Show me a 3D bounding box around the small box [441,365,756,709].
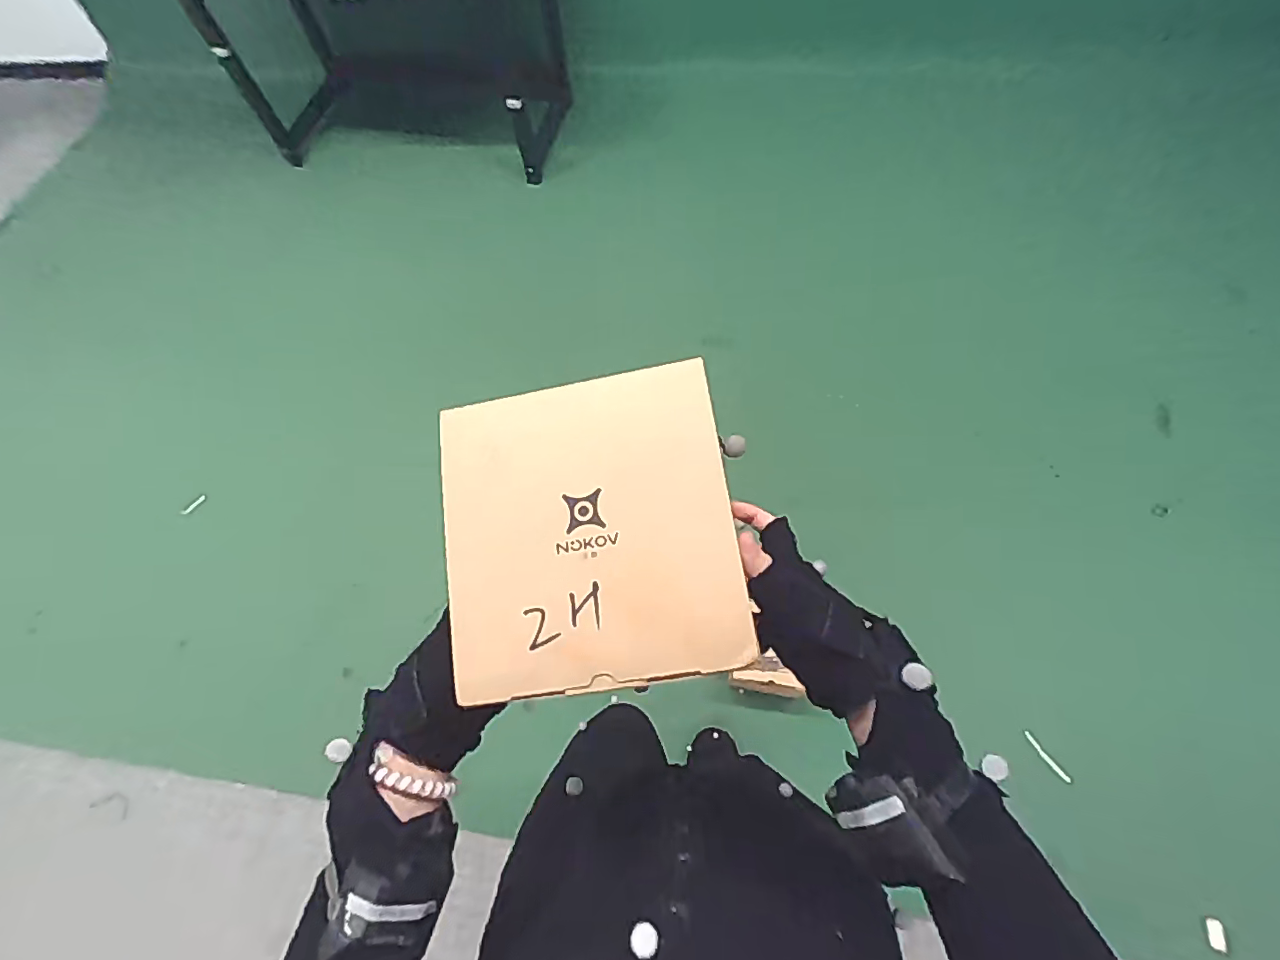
[{"bbox_3d":[-0.020,0.046,0.380,0.168,0.176,0.179,-11,76,7],"label":"small box"}]

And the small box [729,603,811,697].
[{"bbox_3d":[0.301,0.404,1.273,0.168,0.176,0.179,7,63,8],"label":"small box"}]
